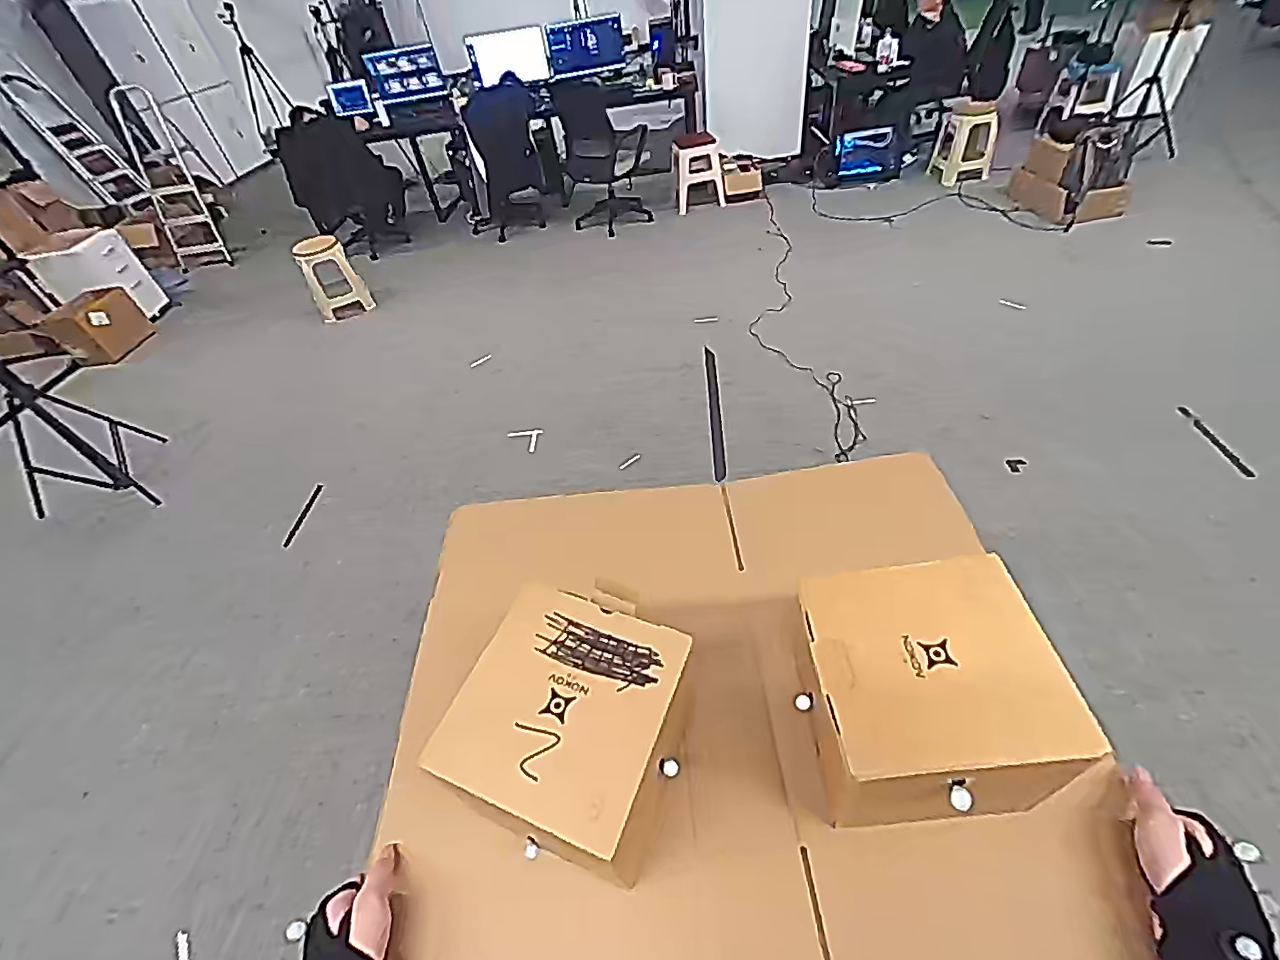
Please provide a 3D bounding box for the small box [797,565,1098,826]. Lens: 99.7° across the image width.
[{"bbox_3d":[0.250,0.202,0.498,0.179,0.176,0.168,-10,46,7],"label":"small box"}]
